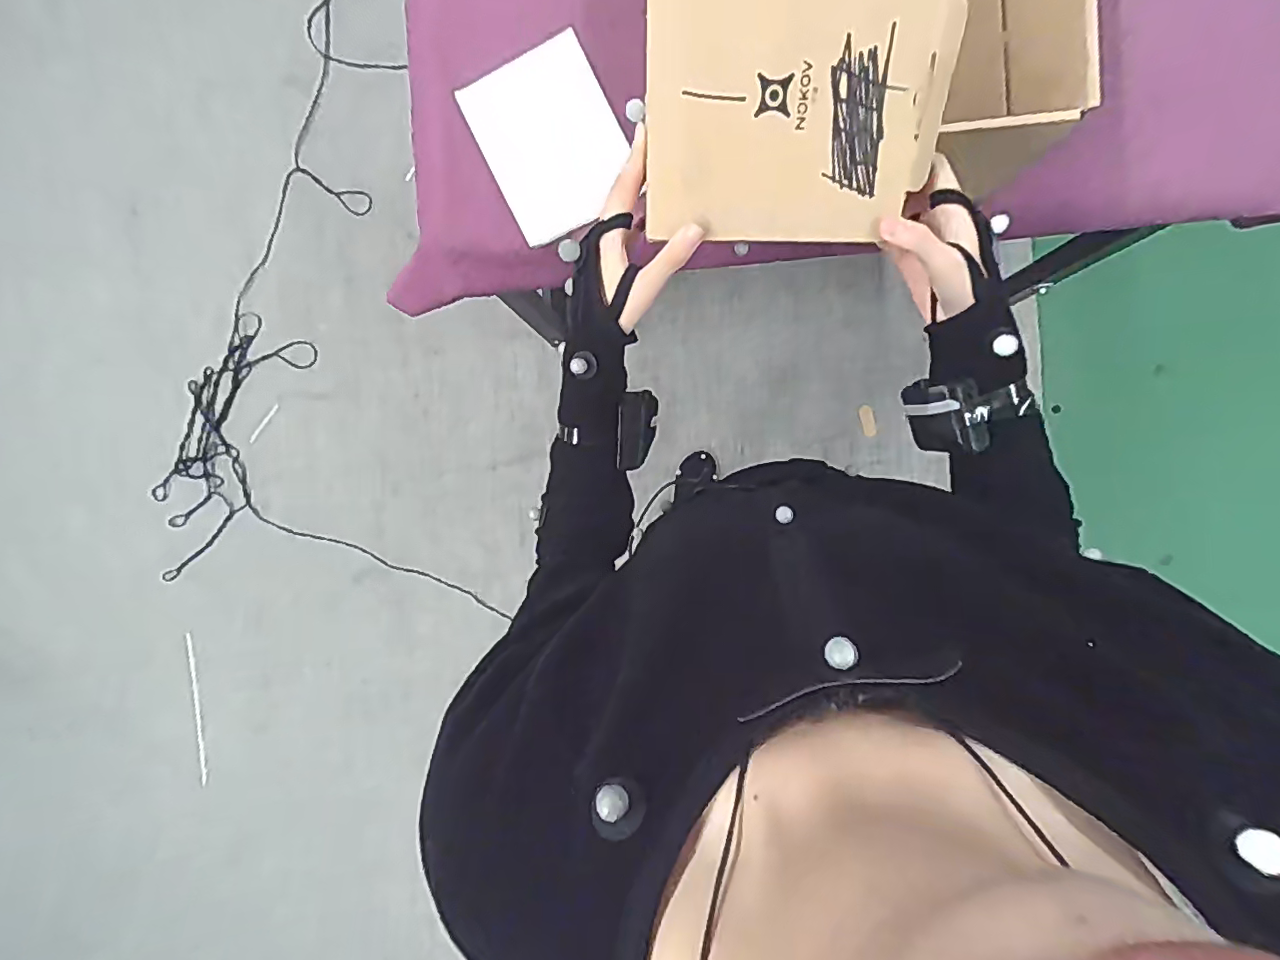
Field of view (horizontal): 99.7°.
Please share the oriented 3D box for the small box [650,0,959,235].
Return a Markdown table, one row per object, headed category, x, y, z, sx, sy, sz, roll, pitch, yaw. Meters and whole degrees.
| category | x | y | z | sx | sy | sz | roll | pitch | yaw |
| --- | --- | --- | --- | --- | --- | --- | --- | --- | --- |
| small box | 0.097 | -0.279 | 0.399 | 0.179 | 0.176 | 0.168 | 1 | 118 | 1 |
